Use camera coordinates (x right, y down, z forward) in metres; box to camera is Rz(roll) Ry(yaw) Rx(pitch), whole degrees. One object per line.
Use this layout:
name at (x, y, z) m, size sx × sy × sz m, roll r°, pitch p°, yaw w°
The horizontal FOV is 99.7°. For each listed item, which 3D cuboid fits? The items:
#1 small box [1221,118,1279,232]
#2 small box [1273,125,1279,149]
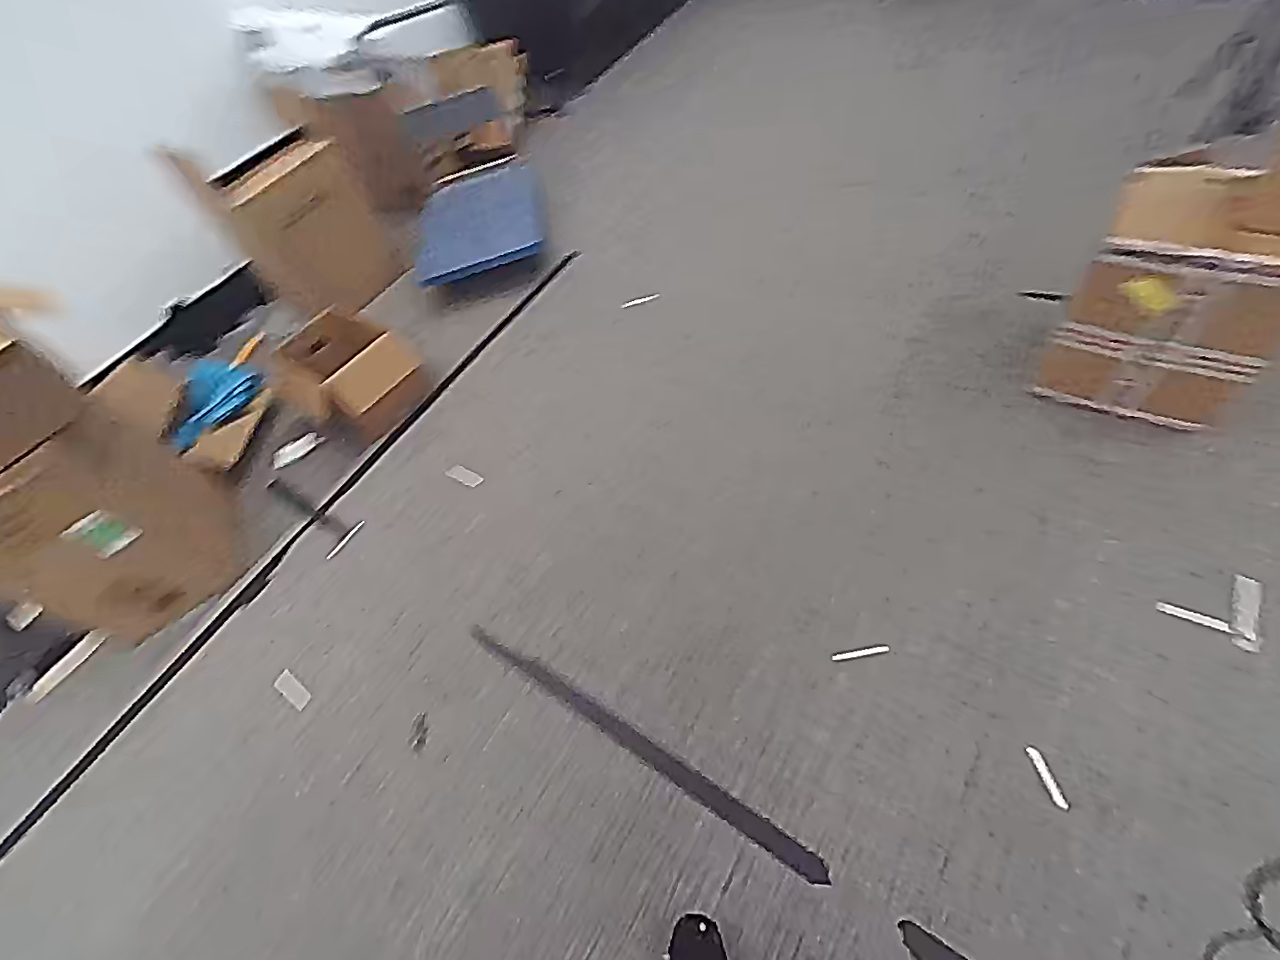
small box at (1.316, -0.608, 1.061) m, size 0.179 × 0.176 × 0.168 m, roll 29°, pitch 69°, yaw 28°
small box at (1.264, -0.678, 0.919) m, size 0.179 × 0.176 × 0.168 m, roll 25°, pitch 67°, yaw 27°
